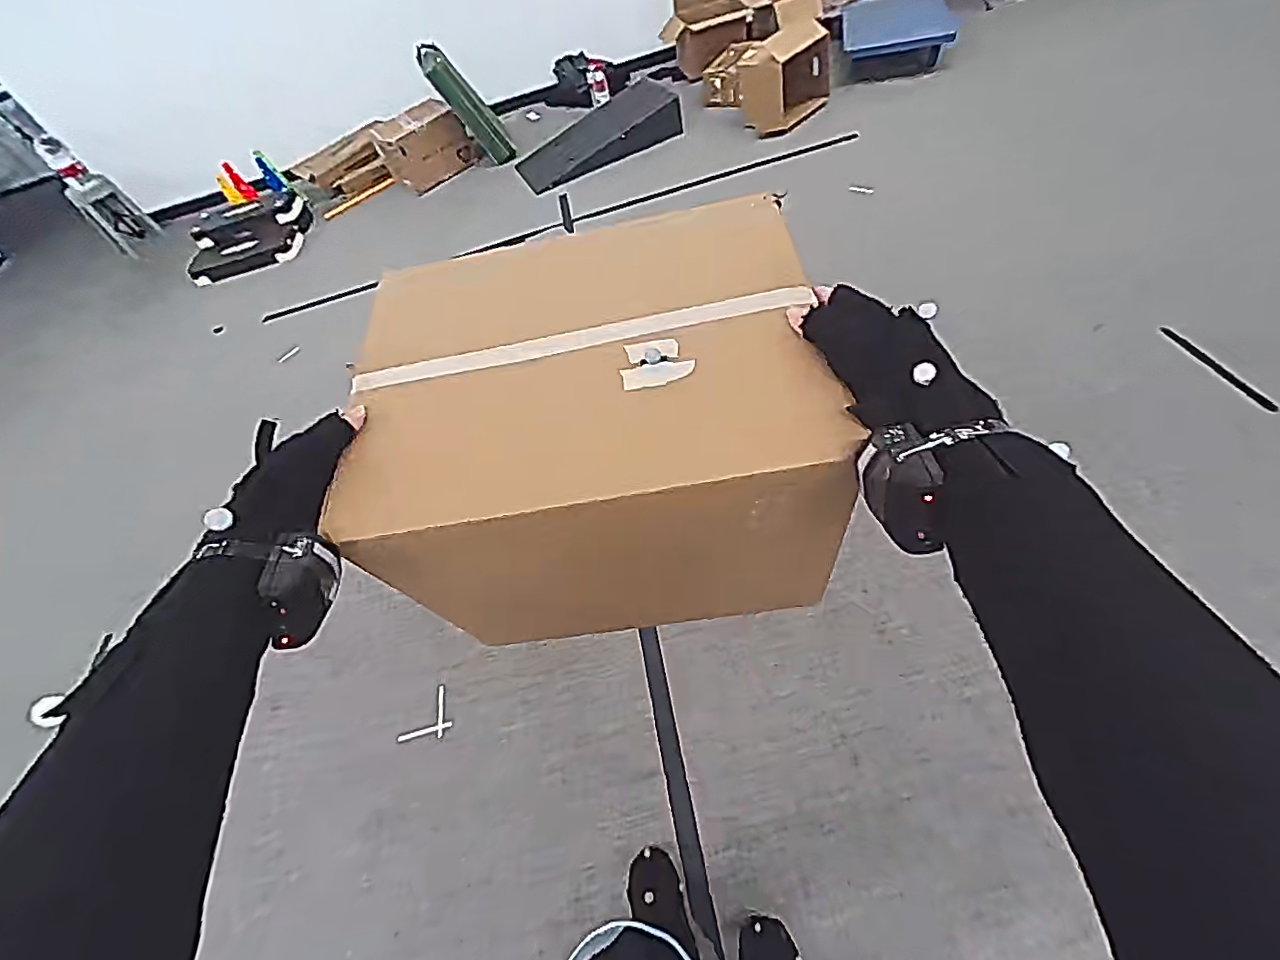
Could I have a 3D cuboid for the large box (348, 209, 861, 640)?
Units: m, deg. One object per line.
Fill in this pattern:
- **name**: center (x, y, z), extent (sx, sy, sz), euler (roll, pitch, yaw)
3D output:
- **large box**: center (-0.027, -0.037, 0.606), extent (0.408, 0.320, 0.320), euler (-9, 59, 5)
